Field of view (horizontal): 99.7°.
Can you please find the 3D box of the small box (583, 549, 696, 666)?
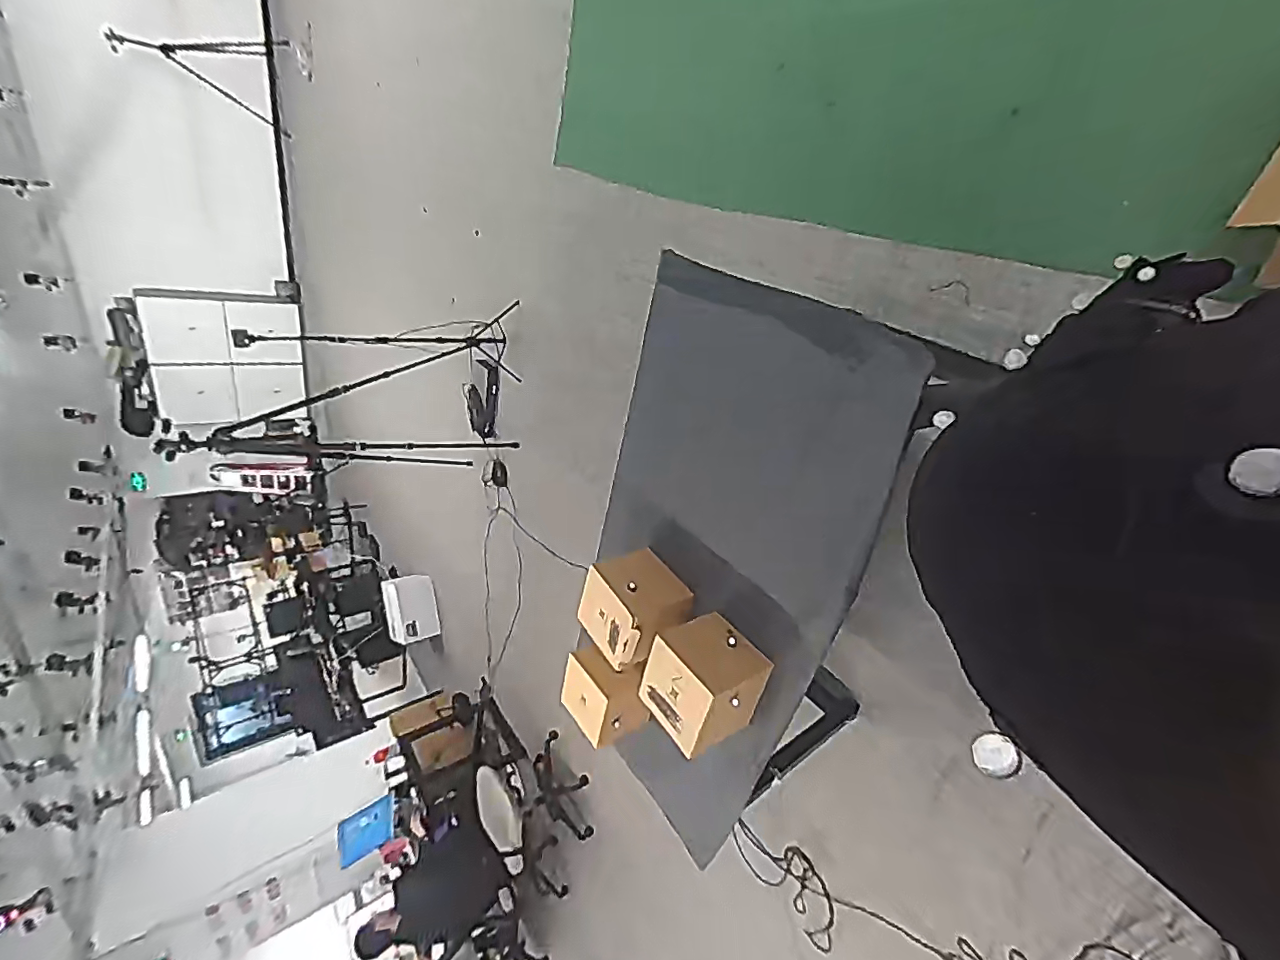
[{"bbox_3d":[-0.001,0.278,1.221,0.179,0.176,0.168,44,130,38],"label":"small box"}]
